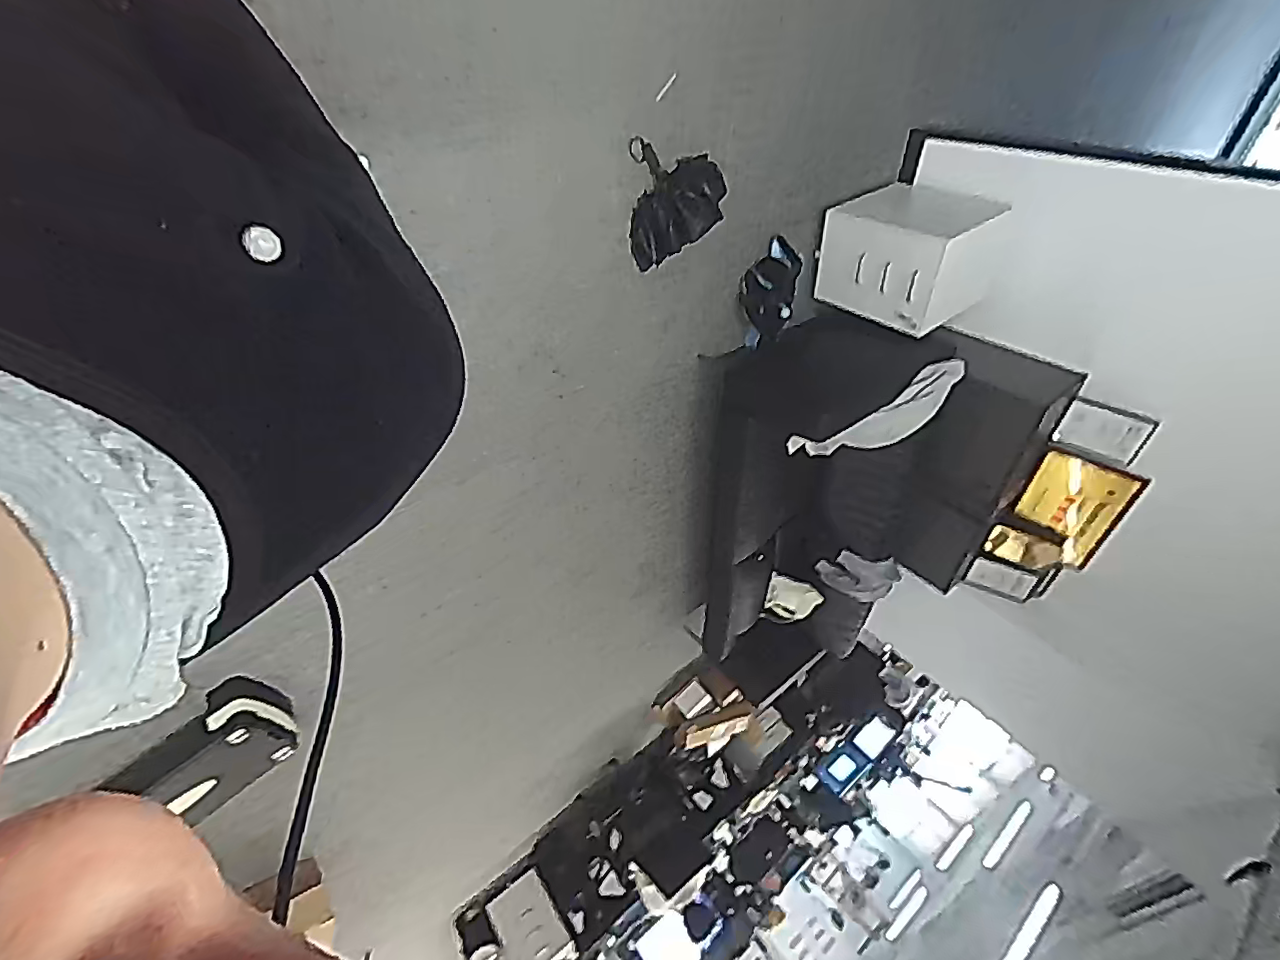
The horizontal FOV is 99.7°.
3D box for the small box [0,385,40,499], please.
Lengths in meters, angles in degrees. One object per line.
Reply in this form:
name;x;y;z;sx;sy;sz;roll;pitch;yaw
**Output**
small box;-1.296;-0.091;1.036;0.168;0.176;0.179;19;106;-51
